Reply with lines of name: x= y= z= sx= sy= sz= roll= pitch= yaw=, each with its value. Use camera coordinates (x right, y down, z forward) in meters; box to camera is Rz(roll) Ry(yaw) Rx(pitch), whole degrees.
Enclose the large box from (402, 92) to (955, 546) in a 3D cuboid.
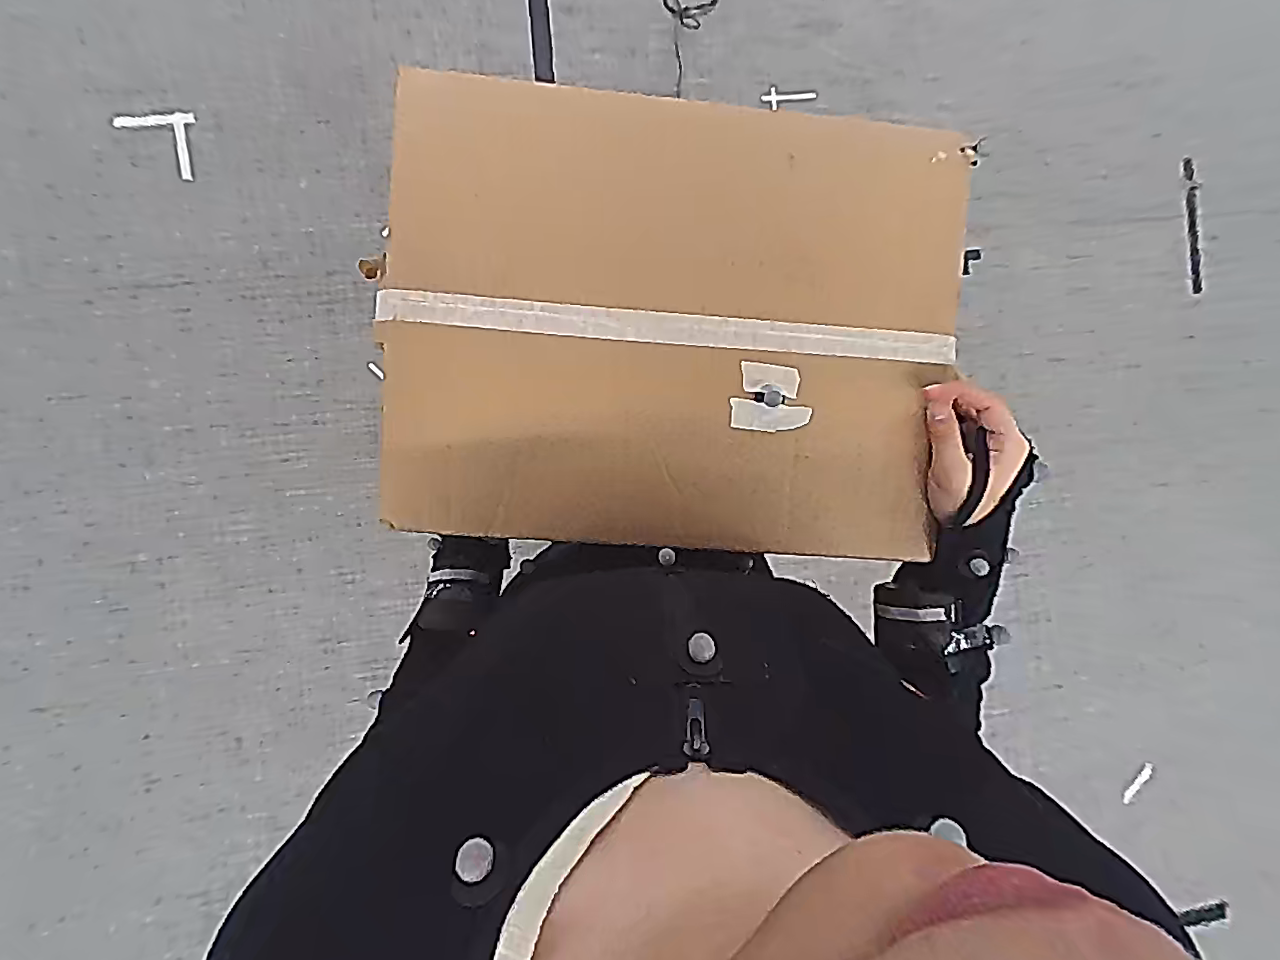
large box: x=0.019 y=-0.116 z=0.542 sx=0.408 sy=0.320 sz=0.320 roll=3 pitch=94 yaw=-5
